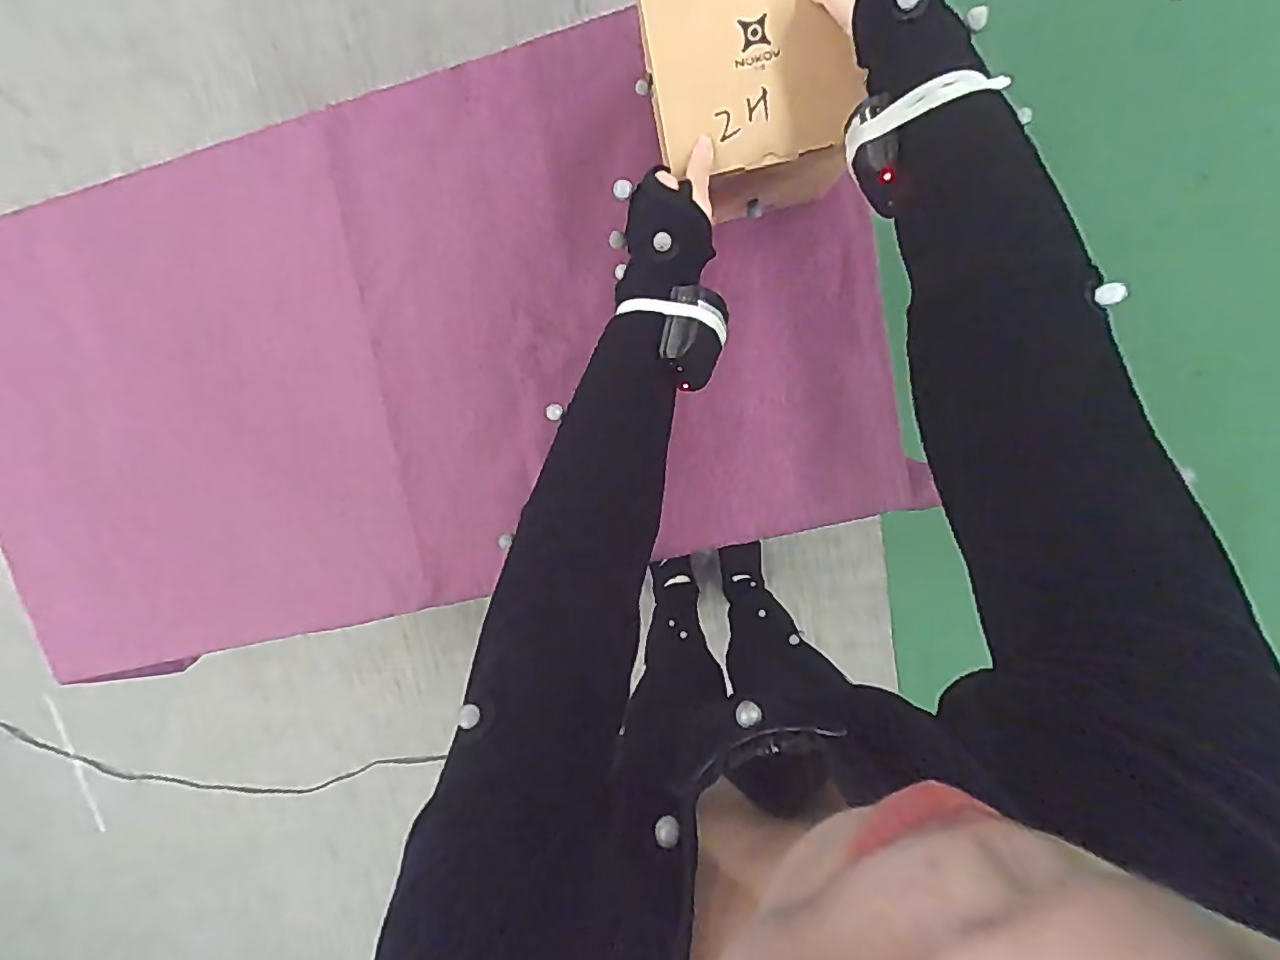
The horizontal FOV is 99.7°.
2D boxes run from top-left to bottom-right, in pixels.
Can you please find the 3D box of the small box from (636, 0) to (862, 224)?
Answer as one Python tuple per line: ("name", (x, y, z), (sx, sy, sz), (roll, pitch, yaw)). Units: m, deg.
("small box", (0.091, -0.364, 0.504), (0.168, 0.176, 0.179), (-10, 102, 8))
